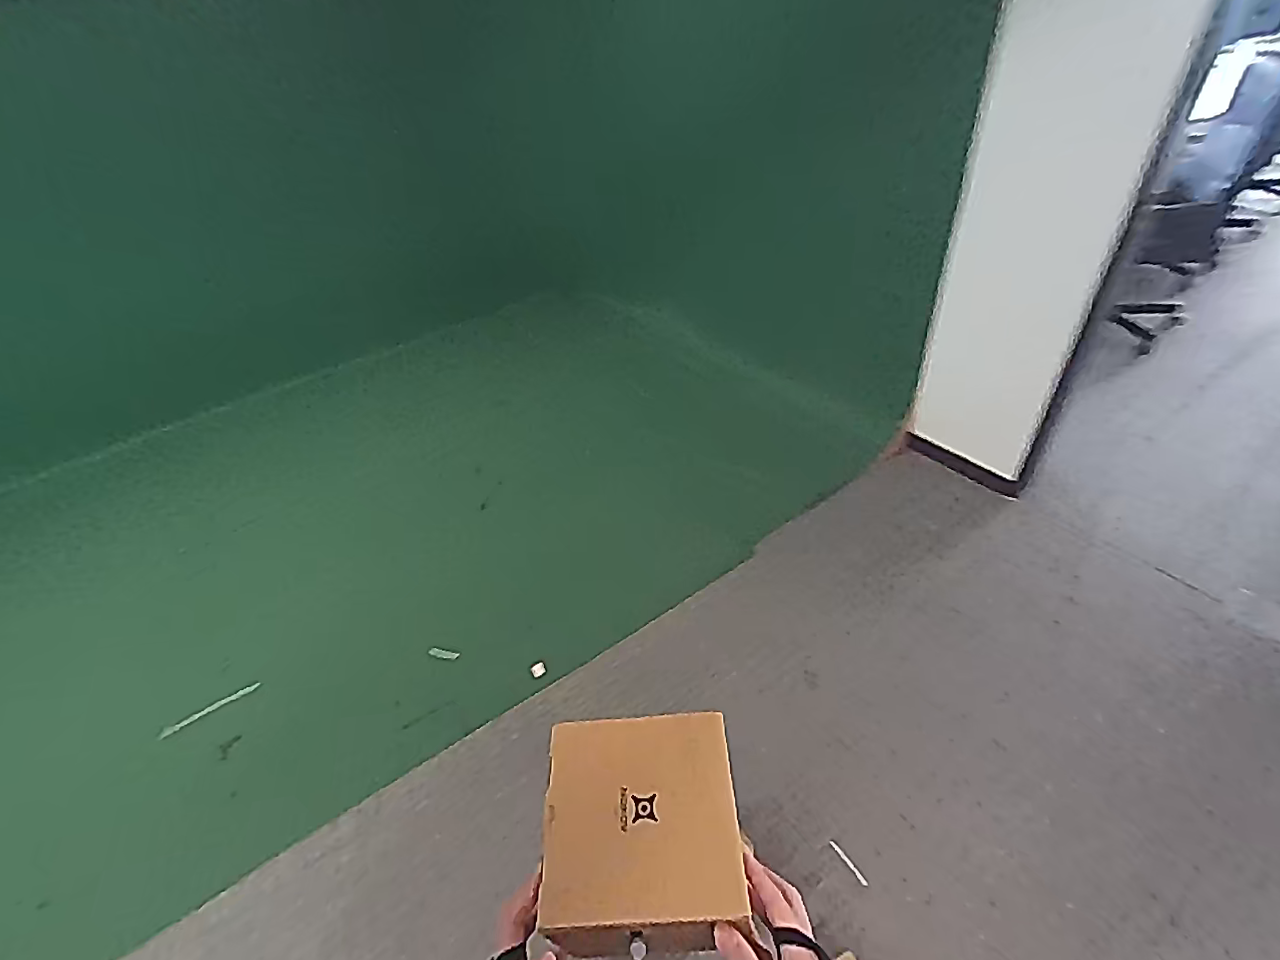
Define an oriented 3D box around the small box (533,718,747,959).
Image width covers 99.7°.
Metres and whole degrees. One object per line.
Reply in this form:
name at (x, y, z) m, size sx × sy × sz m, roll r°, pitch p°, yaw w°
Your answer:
small box at (0.004, 0.362, 0.544) m, size 0.179 × 0.176 × 0.168 m, roll -8°, pitch 43°, yaw 2°
